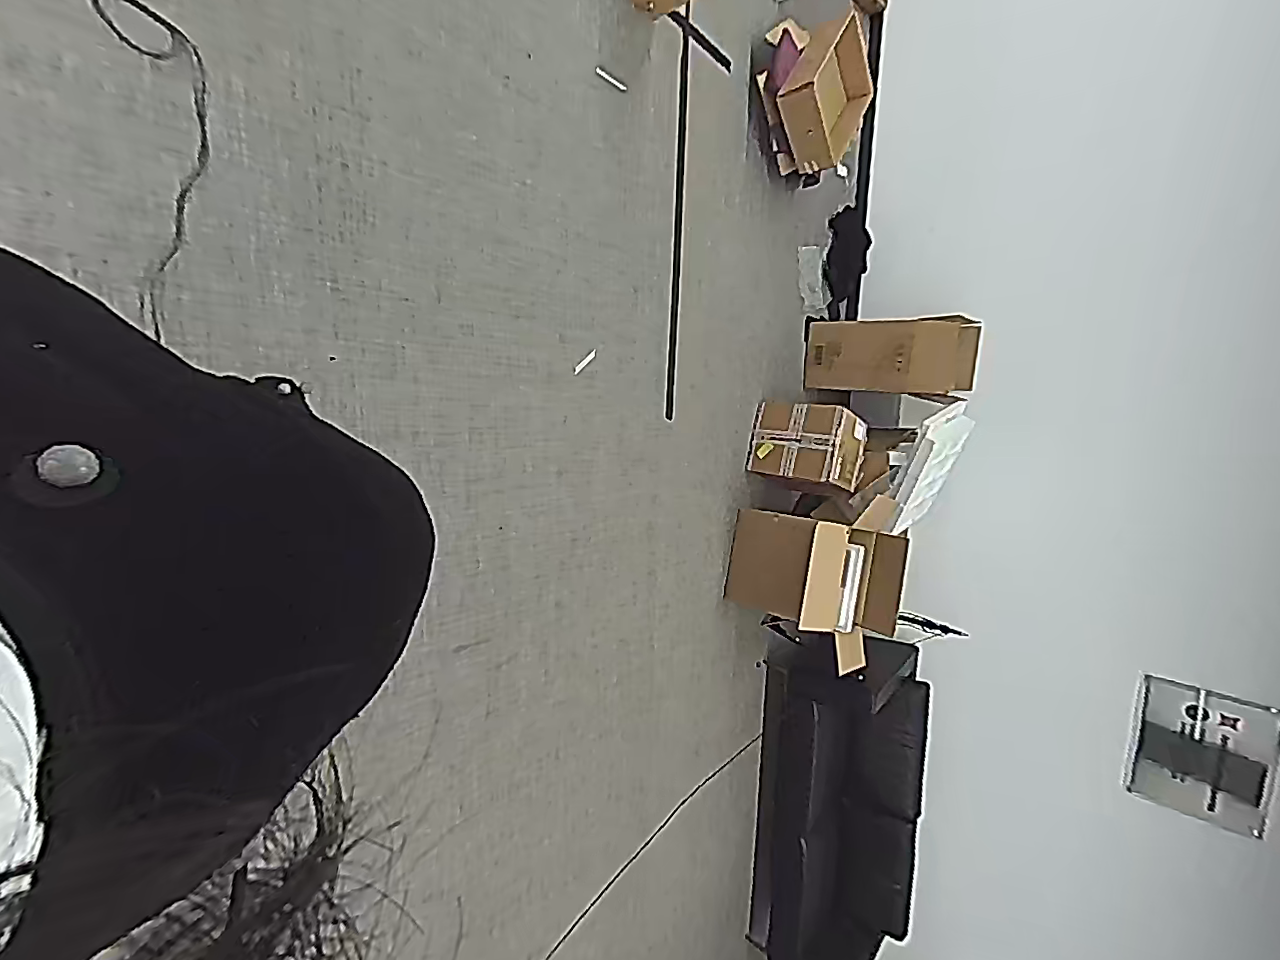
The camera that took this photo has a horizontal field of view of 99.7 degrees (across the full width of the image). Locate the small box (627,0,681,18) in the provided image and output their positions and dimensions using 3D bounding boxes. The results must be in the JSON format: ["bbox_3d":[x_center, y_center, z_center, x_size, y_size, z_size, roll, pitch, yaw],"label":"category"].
[{"bbox_3d":[0.044,-1.834,1.946,0.168,0.176,0.179,-6,102,-47],"label":"small box"}]
